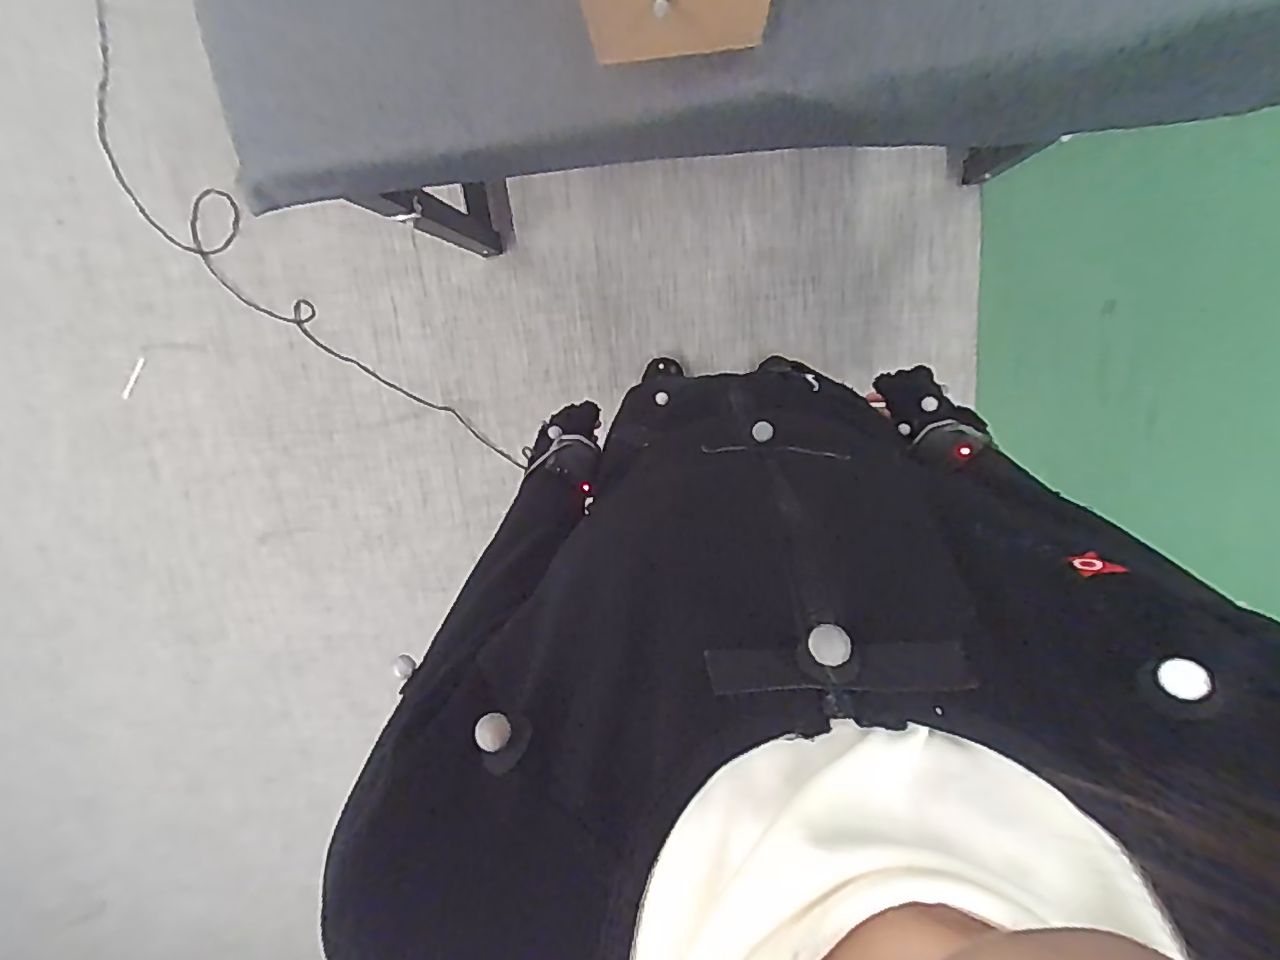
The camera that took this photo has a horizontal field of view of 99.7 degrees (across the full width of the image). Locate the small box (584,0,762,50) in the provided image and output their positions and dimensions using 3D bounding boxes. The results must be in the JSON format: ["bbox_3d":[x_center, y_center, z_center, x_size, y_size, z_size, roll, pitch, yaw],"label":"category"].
[{"bbox_3d":[0.028,-0.520,0.479,0.179,0.176,0.168,-2,103,5],"label":"small box"}]
